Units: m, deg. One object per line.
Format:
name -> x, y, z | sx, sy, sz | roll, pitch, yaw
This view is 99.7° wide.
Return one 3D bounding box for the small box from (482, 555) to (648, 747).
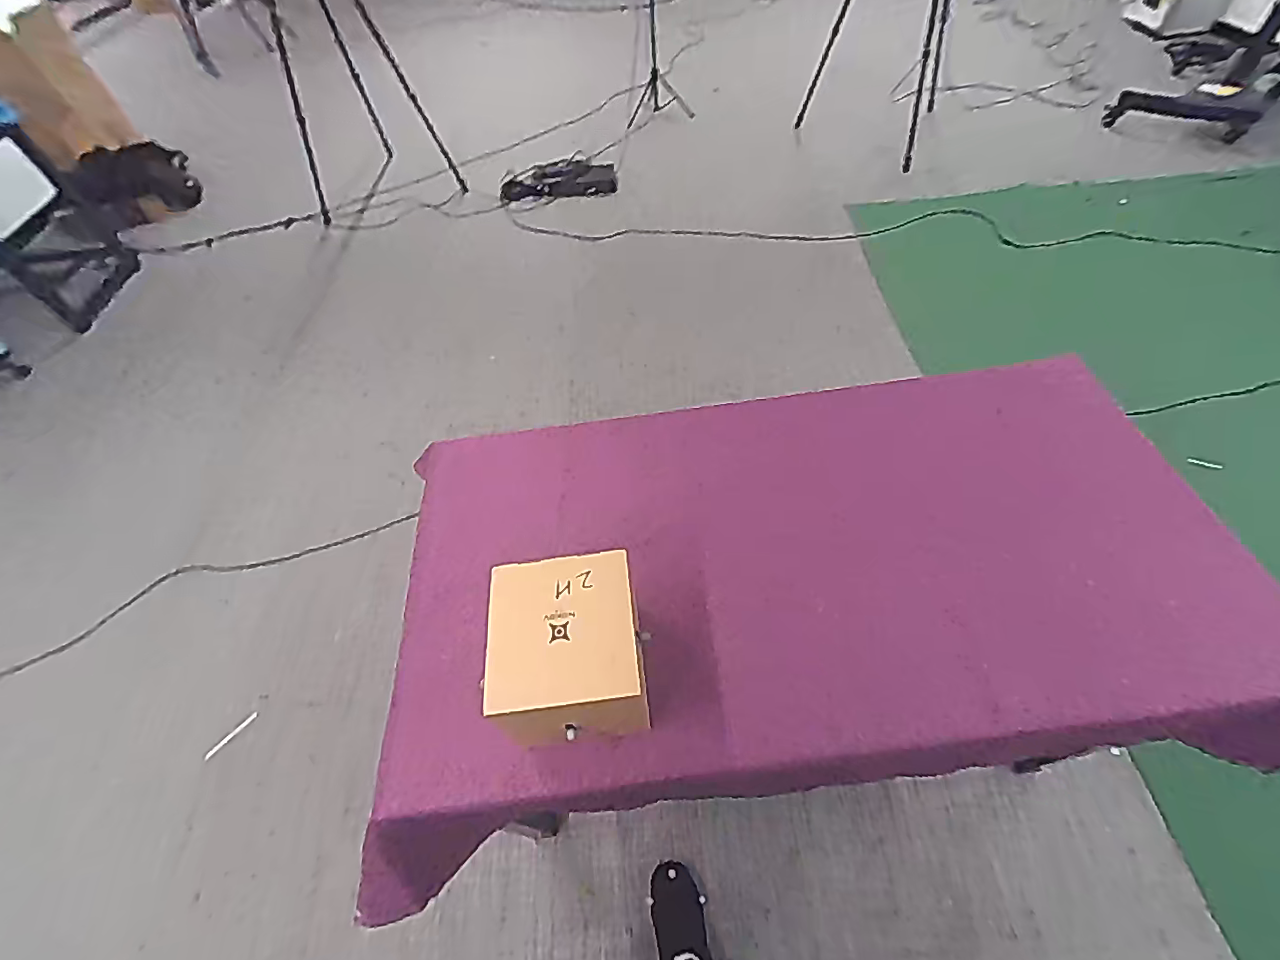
small box -> -0.083, 0.217, 0.668 | 0.168, 0.176, 0.179 | -7, 52, 0
